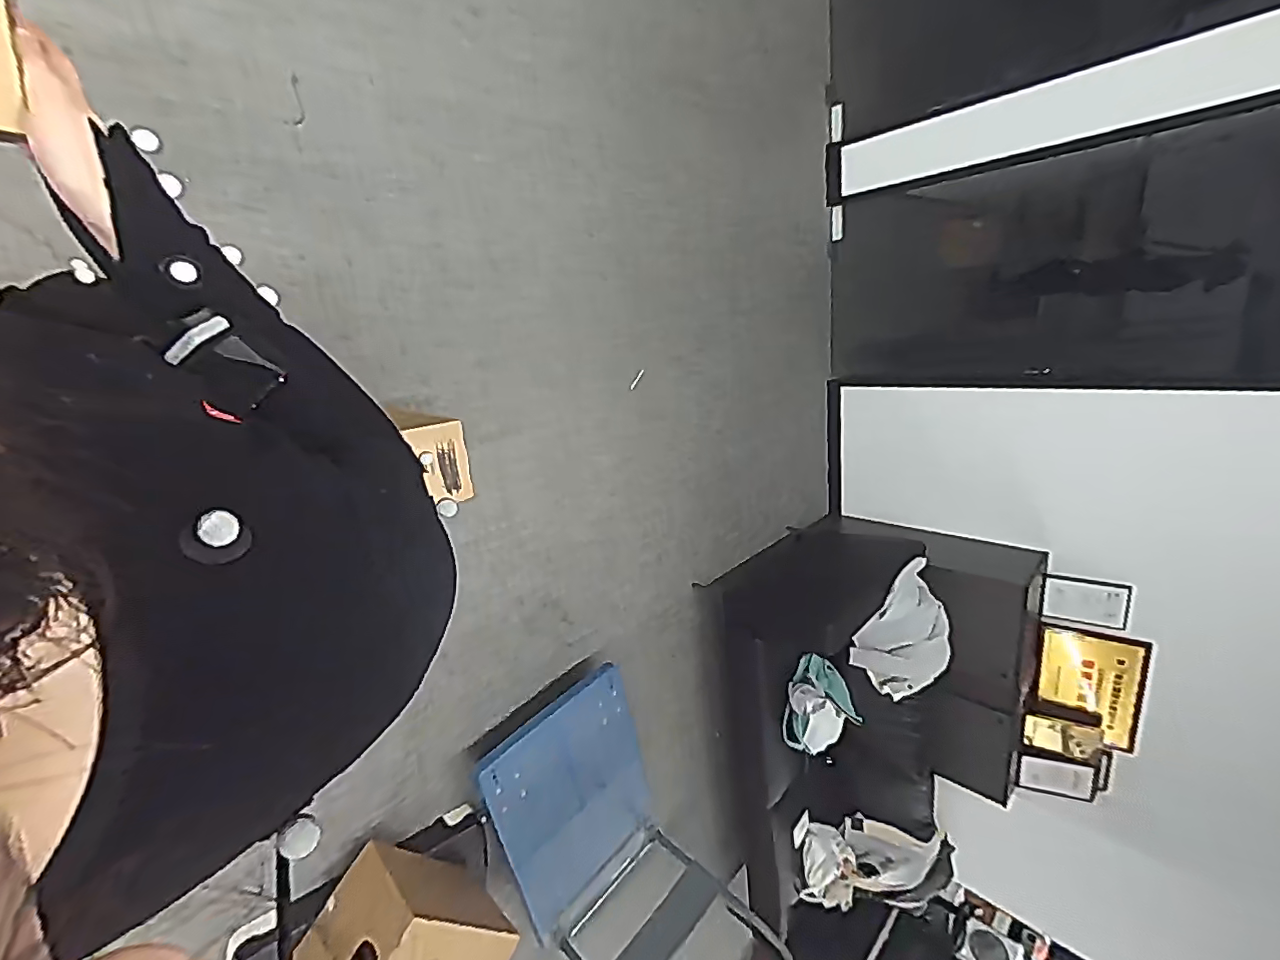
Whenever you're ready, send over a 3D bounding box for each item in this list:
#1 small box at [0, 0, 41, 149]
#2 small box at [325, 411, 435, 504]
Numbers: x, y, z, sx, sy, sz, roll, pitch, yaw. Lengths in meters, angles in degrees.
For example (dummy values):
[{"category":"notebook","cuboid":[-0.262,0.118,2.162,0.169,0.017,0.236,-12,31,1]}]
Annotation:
[{"category":"small box","cuboid":[-0.457,-0.294,0.286,0.168,0.176,0.179,-11,118,-43]},{"category":"small box","cuboid":[-0.593,-0.059,1.230,0.168,0.176,0.179,-19,112,-41]}]
